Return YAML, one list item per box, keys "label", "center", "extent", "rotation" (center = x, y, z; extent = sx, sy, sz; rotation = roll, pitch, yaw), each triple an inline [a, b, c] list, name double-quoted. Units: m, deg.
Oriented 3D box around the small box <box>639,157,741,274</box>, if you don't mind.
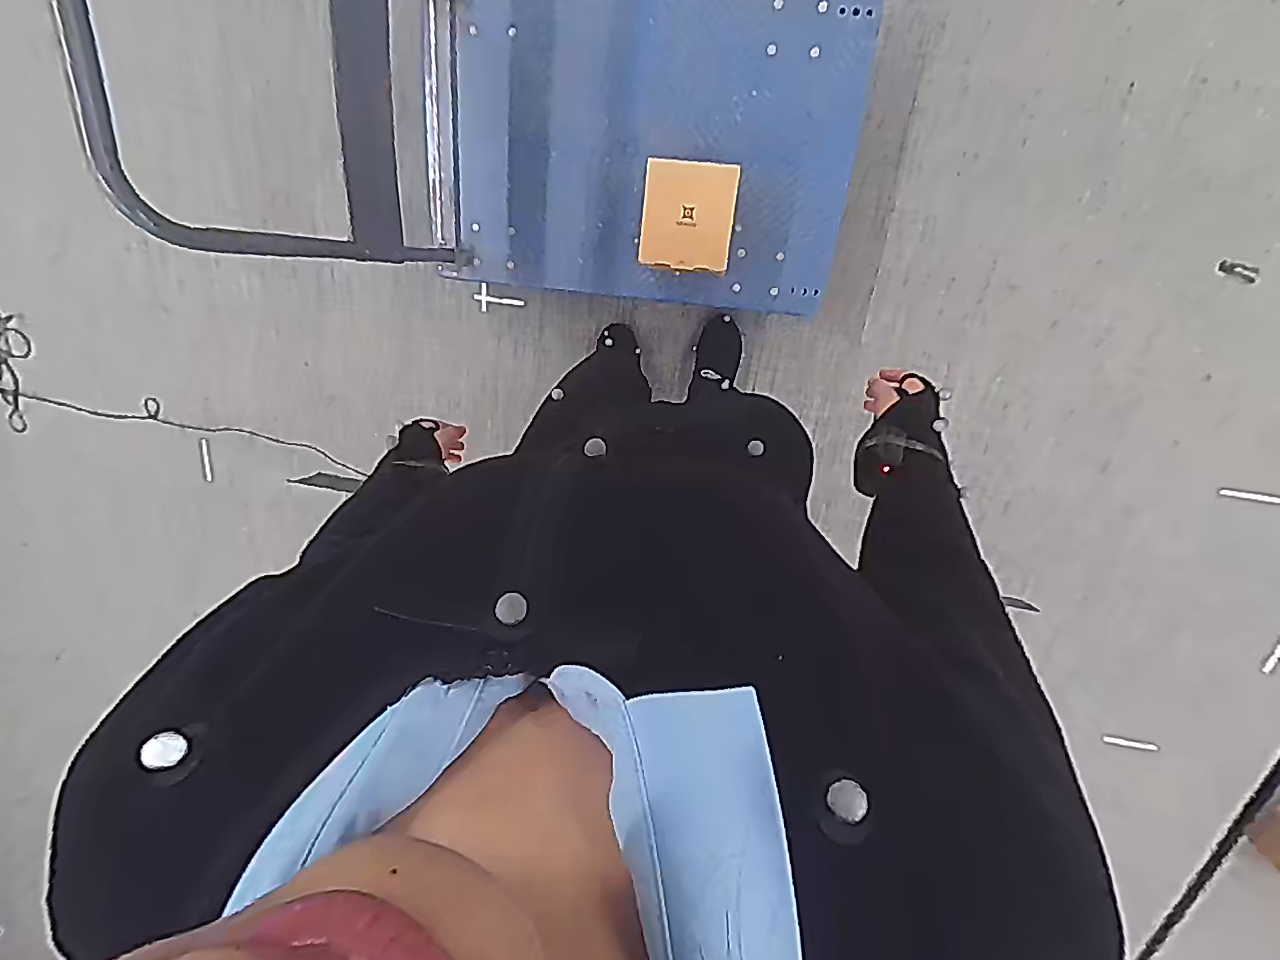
- label: "small box"
  center: [0.095, -0.501, 1.044]
  extent: [0.168, 0.176, 0.179]
  rotation: [8, 110, 5]
